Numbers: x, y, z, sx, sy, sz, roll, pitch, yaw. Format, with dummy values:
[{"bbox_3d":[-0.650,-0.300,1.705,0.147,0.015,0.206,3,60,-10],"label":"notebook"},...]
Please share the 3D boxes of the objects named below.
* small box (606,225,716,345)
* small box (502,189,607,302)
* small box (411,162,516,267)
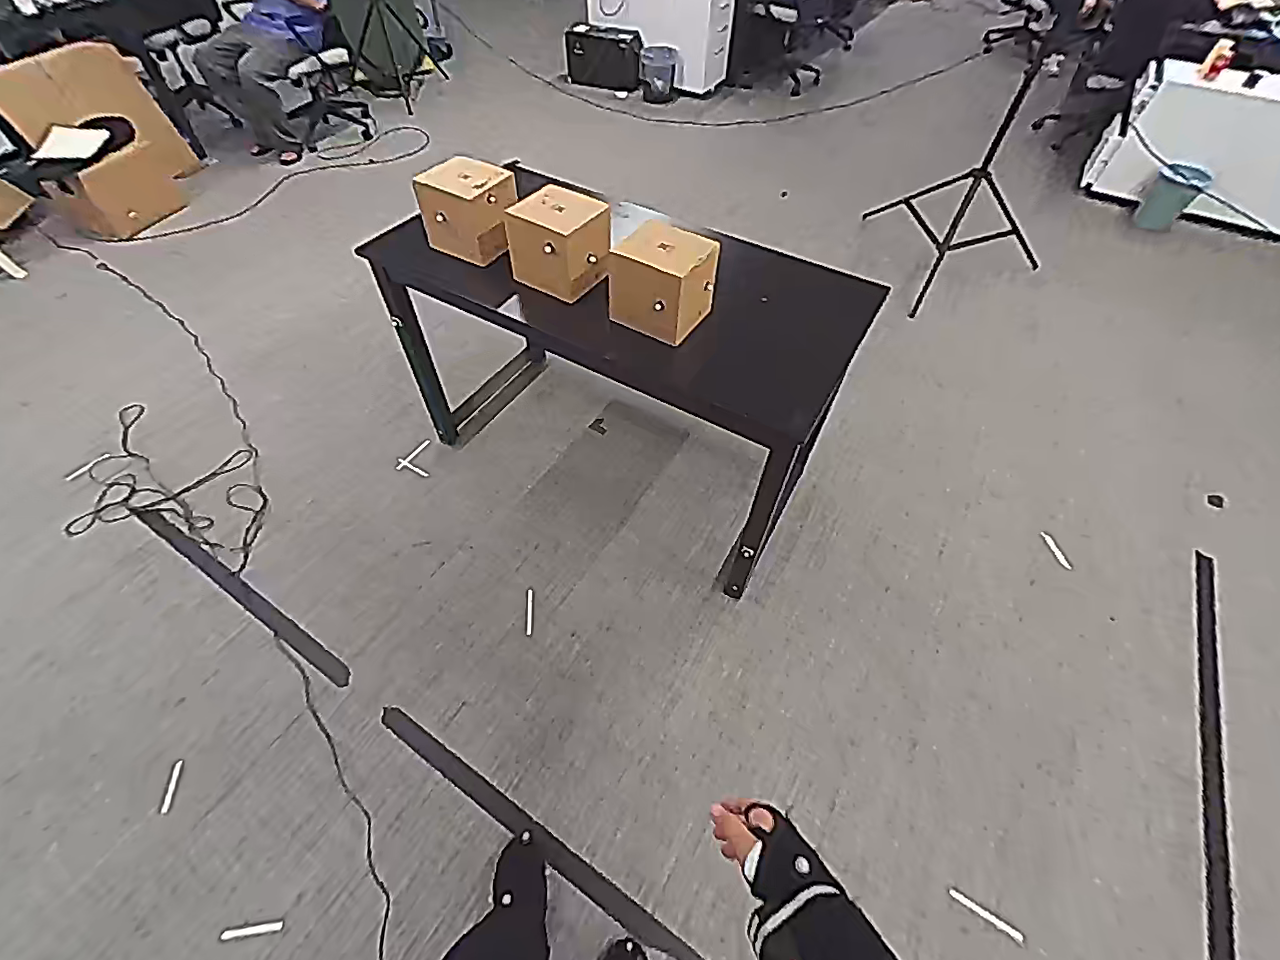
[{"bbox_3d":[0.043,-0.419,1.175,0.179,0.176,0.168,26,54,18],"label":"small box"},{"bbox_3d":[-0.189,-0.540,1.257,0.179,0.176,0.168,27,56,18],"label":"small box"},{"bbox_3d":[-0.423,-0.654,1.339,0.179,0.176,0.168,24,55,16],"label":"small box"}]
